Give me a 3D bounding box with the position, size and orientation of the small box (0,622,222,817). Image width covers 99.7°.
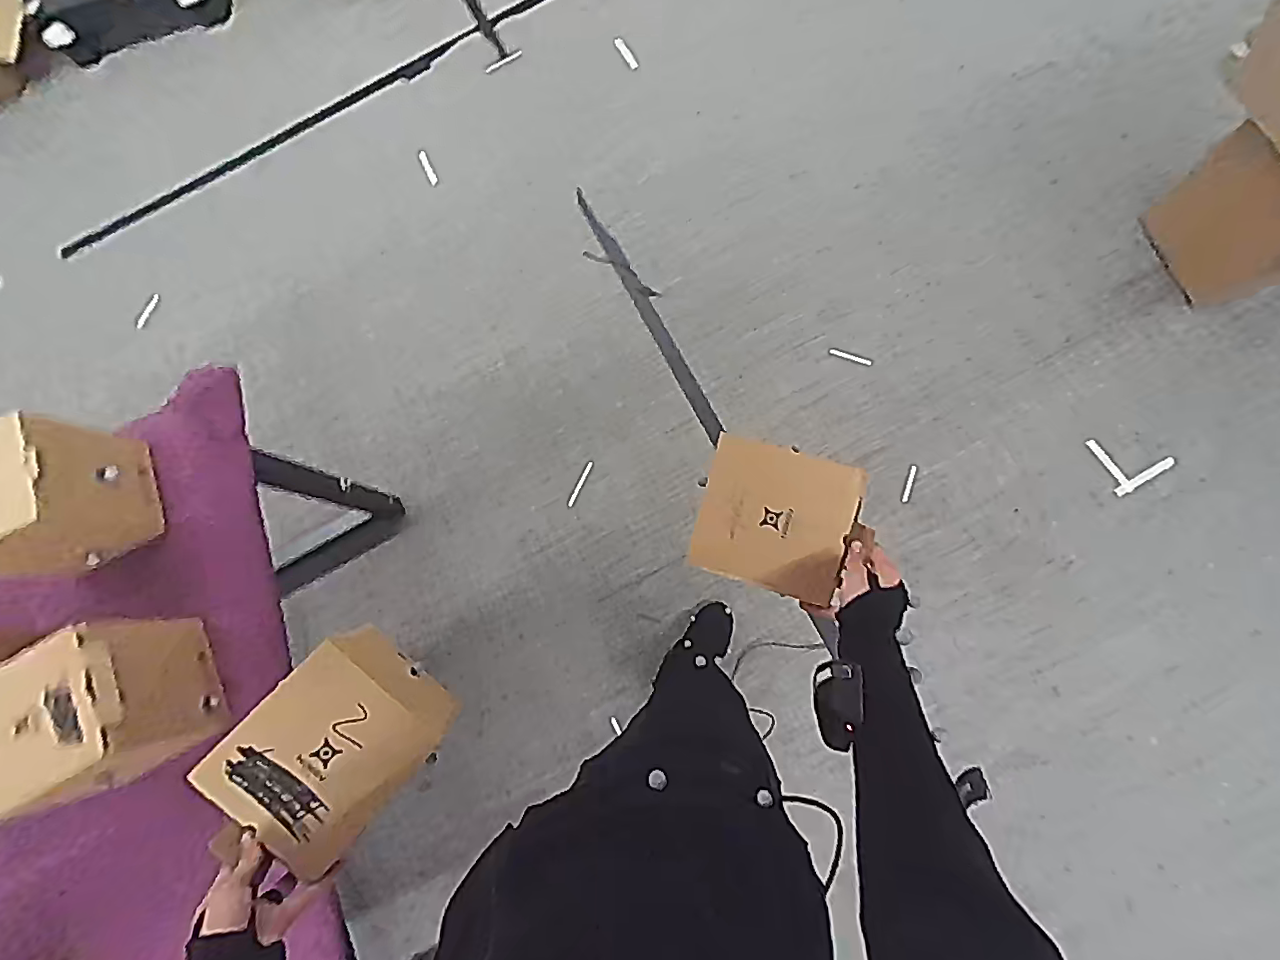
[{"bbox_3d":[-0.702,0.299,0.716,0.179,0.176,0.168,-29,75,0],"label":"small box"}]

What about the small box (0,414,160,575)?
[{"bbox_3d":[-0.861,0.030,0.798,0.179,0.176,0.168,-25,75,2],"label":"small box"}]

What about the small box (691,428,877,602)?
[{"bbox_3d":[0.178,0.039,0.707,0.179,0.176,0.168,17,92,10],"label":"small box"}]
